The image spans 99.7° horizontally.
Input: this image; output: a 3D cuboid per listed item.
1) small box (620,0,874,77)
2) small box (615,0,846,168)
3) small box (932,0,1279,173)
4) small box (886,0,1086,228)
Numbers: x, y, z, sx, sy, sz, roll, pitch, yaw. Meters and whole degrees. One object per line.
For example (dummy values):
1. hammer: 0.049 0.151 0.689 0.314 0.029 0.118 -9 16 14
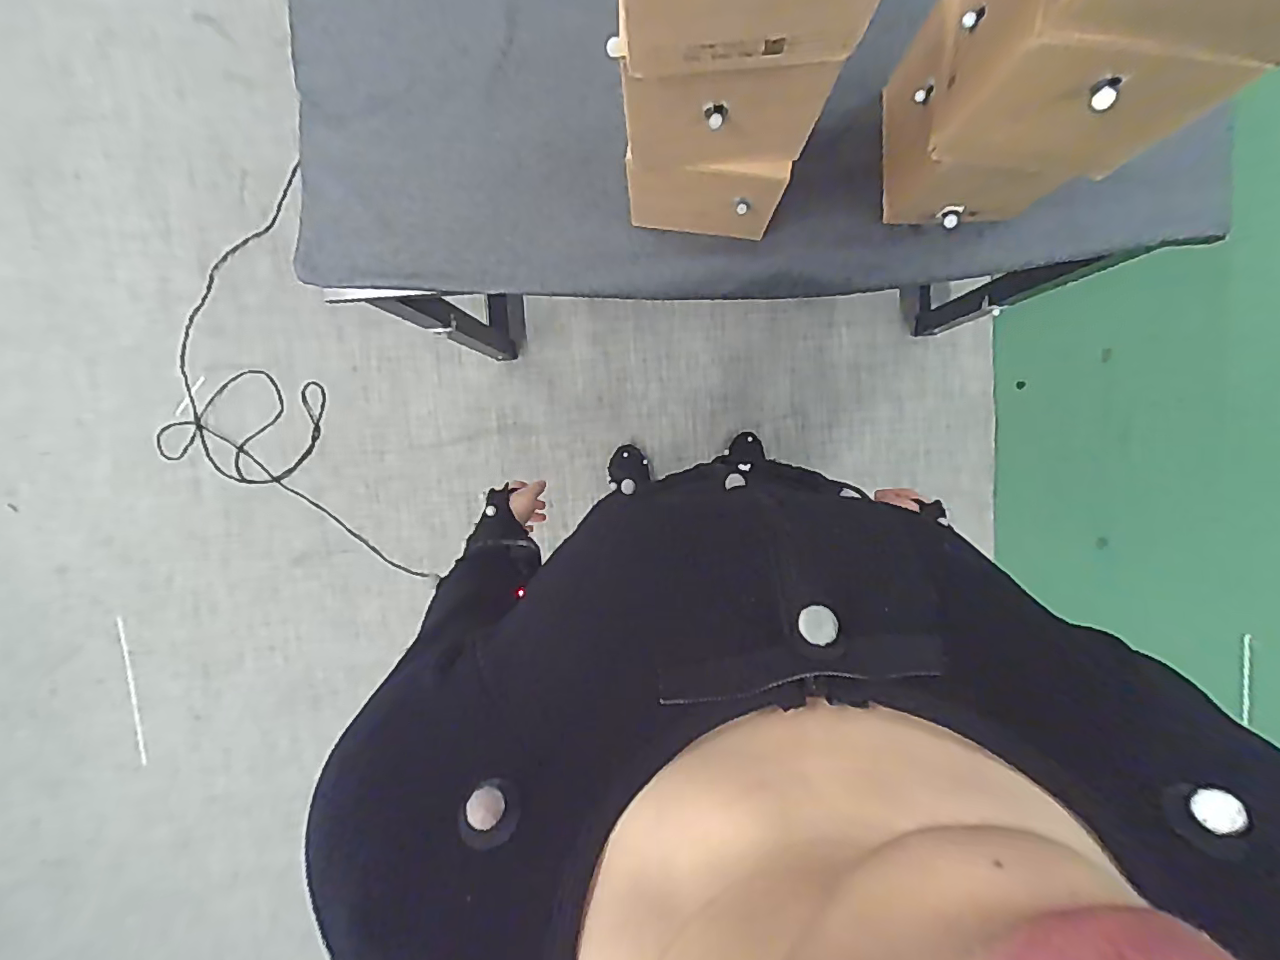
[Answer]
1. small box: 0.064 -0.382 0.313 0.168 0.176 0.179 -3 93 3
2. small box: 0.070 -0.402 0.476 0.179 0.176 0.168 -2 93 4
3. small box: 0.388 -0.391 0.462 0.179 0.176 0.168 9 94 4
4. small box: 0.397 -0.416 0.623 0.168 0.176 0.179 -2 94 4
